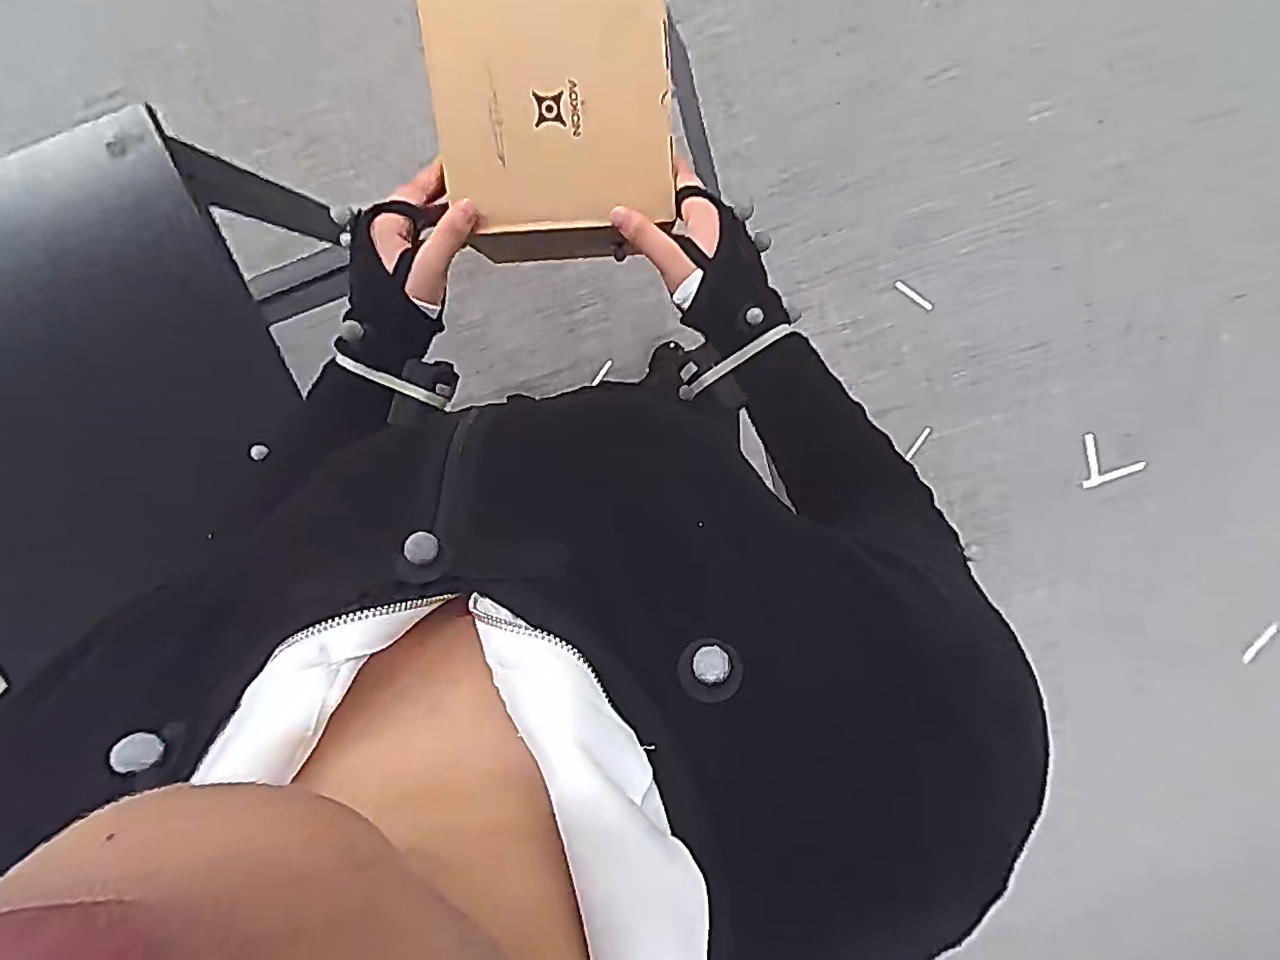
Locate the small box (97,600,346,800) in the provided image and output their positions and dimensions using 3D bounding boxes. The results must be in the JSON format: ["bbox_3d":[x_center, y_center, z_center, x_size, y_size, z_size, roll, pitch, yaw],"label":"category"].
[{"bbox_3d":[-0.544,0.281,0.733,0.168,0.176,0.179,-17,104,4],"label":"small box"}]

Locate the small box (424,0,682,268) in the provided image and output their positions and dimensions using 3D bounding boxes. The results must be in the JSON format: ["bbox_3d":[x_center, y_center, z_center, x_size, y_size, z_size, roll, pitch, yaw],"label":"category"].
[{"bbox_3d":[-0.064,-0.290,0.477,0.179,0.176,0.168,-5,104,-2],"label":"small box"}]
